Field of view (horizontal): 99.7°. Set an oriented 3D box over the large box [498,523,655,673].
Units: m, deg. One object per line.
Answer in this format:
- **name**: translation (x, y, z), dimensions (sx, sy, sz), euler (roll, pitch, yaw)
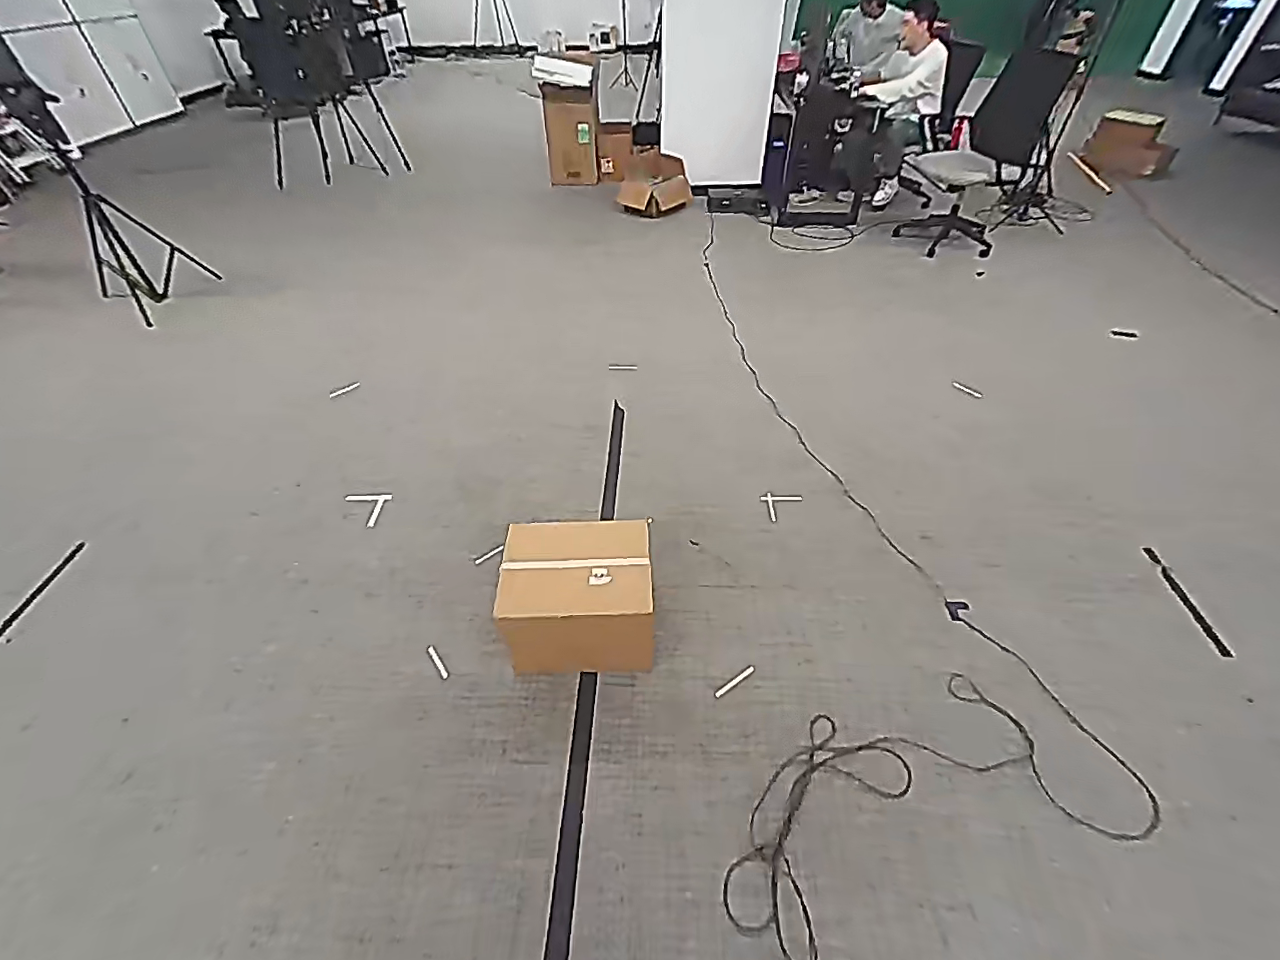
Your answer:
- **large box**: translation (-0.169, 0.343, 1.570), dimensions (0.408, 0.320, 0.320), euler (-1, 45, -1)
